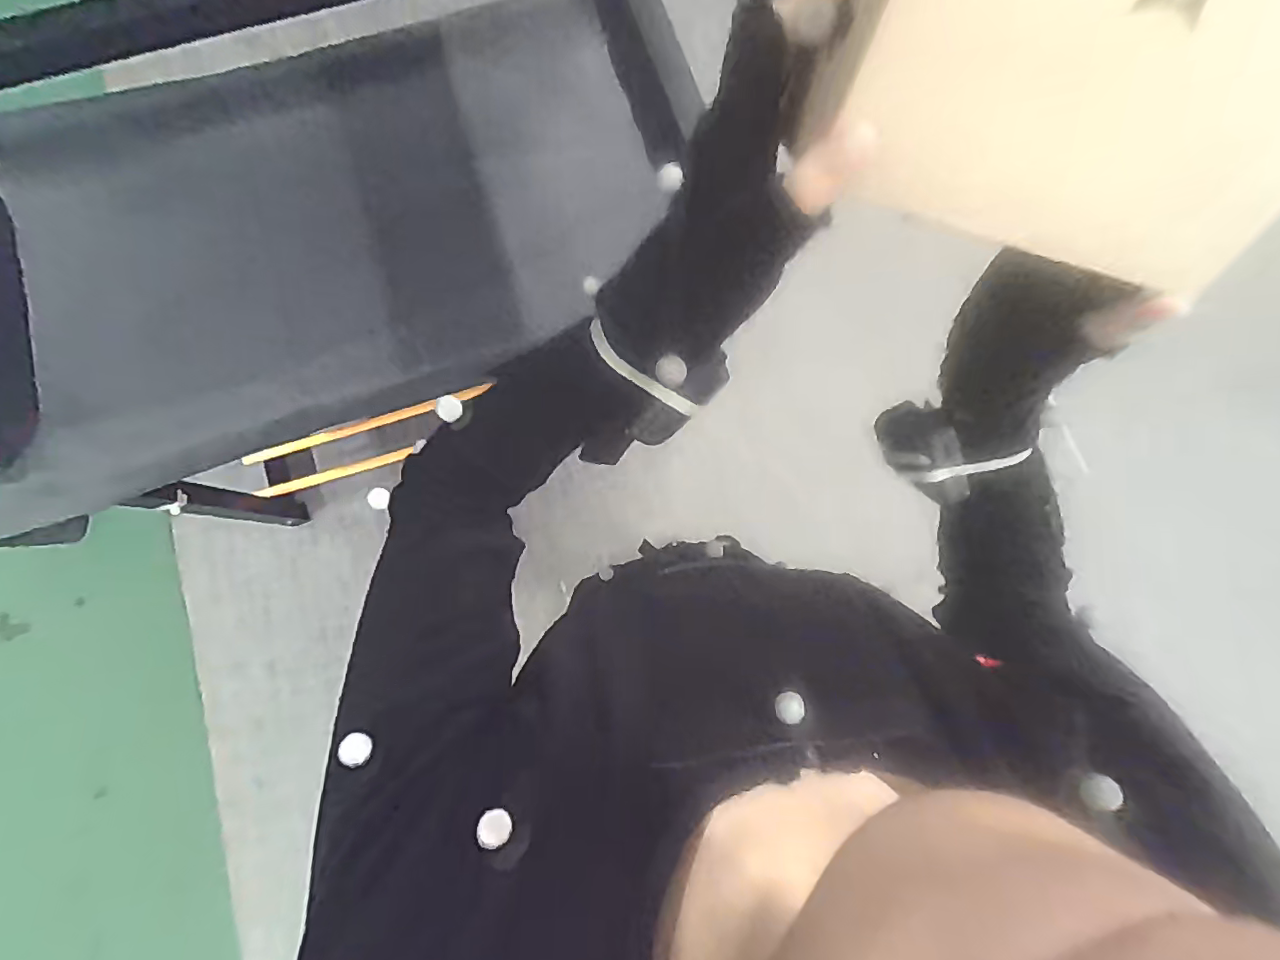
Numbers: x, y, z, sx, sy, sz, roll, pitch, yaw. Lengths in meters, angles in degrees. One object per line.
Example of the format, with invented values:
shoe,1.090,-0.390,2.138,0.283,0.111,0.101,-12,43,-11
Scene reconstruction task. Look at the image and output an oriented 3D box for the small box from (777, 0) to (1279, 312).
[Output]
small box,0.169,-0.203,0.227,0.168,0.179,0.176,12,40,-8
